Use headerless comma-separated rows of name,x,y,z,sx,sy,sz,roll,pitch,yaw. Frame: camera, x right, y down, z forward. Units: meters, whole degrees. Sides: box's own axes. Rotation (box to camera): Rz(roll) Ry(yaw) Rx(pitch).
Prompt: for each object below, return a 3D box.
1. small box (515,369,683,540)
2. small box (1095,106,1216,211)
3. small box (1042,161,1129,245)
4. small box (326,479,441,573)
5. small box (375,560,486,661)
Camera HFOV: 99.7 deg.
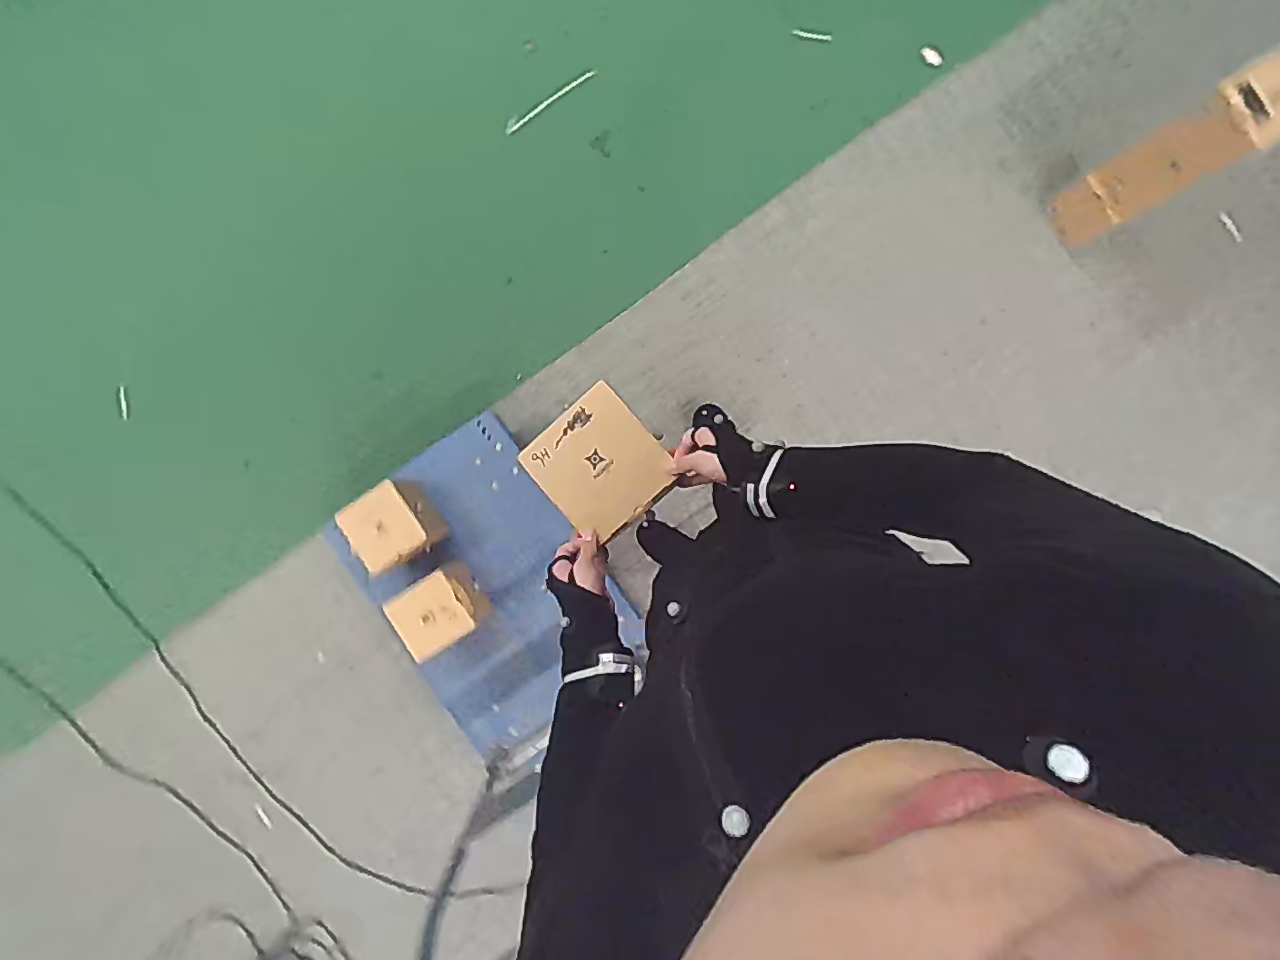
small box,-0.050,-0.036,0.808,0.168,0.176,0.179,-39,87,4
small box,1.326,-0.829,1.404,0.168,0.176,0.179,1,89,2
small box,1.311,-0.815,1.558,0.179,0.176,0.168,-31,90,-1
small box,-0.641,0.108,1.376,0.168,0.176,0.179,-34,90,-1
small box,-0.523,0.324,1.374,0.179,0.176,0.168,-32,90,0
